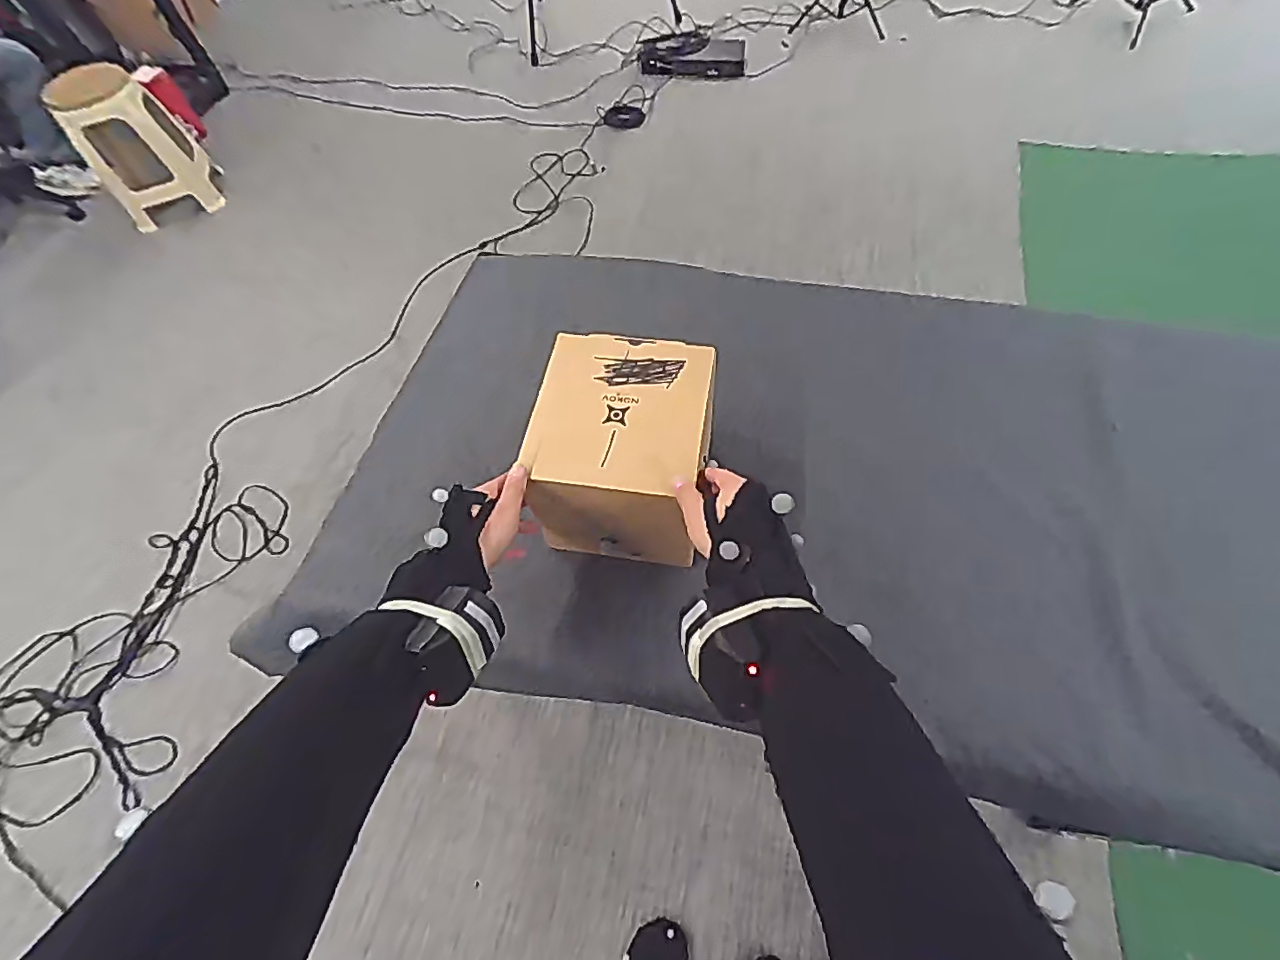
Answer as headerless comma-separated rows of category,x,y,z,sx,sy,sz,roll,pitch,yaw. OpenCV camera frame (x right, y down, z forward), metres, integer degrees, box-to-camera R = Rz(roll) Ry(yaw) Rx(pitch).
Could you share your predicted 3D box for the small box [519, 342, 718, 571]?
small box,-0.011,-0.021,0.584,0.168,0.176,0.179,7,61,9
